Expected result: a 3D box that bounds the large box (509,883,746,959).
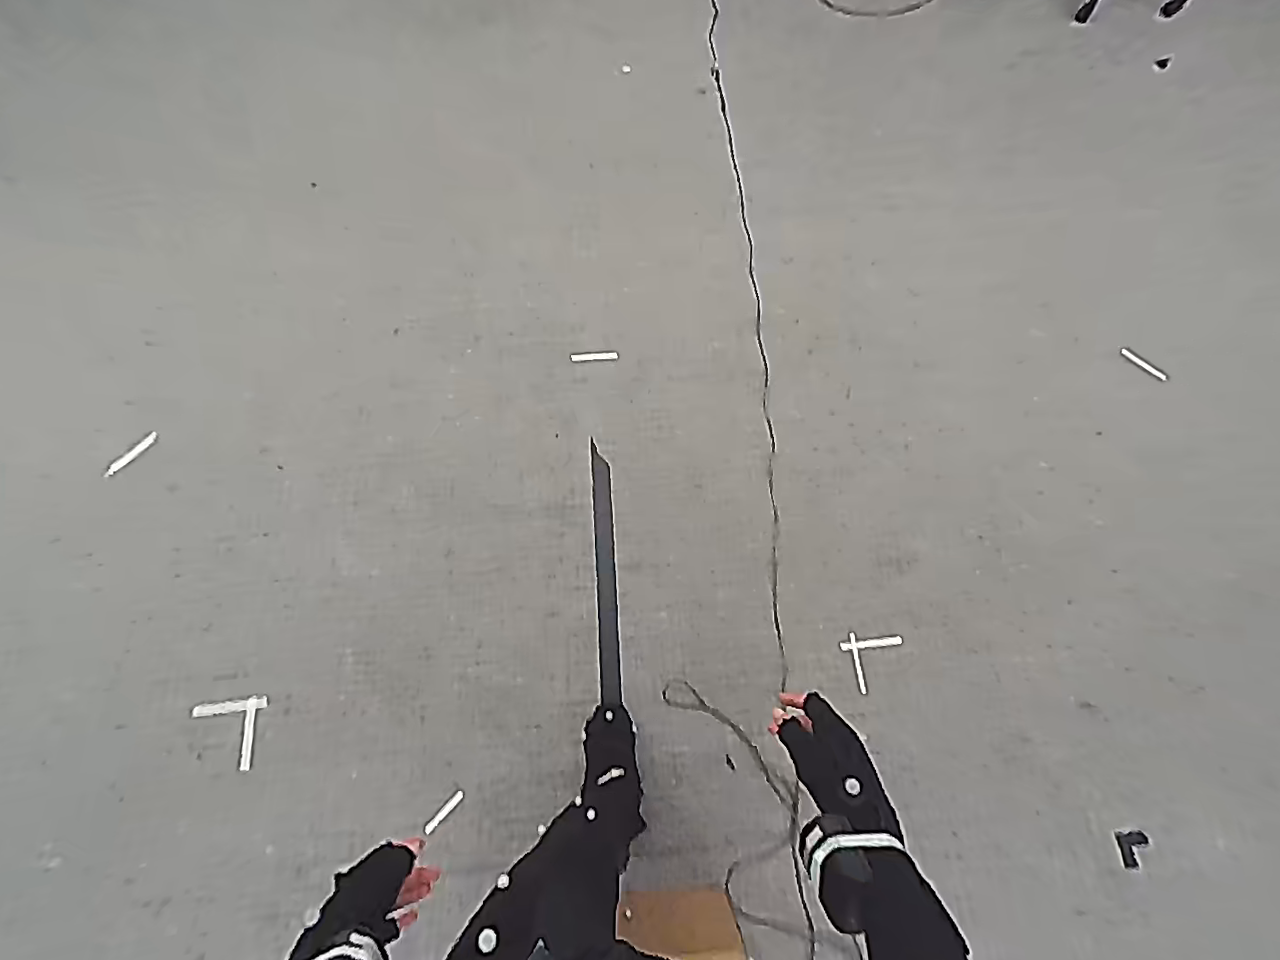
[{"bbox_3d":[-0.013,0.977,0.983,0.408,0.320,0.320,-4,70,-1],"label":"large box"}]
